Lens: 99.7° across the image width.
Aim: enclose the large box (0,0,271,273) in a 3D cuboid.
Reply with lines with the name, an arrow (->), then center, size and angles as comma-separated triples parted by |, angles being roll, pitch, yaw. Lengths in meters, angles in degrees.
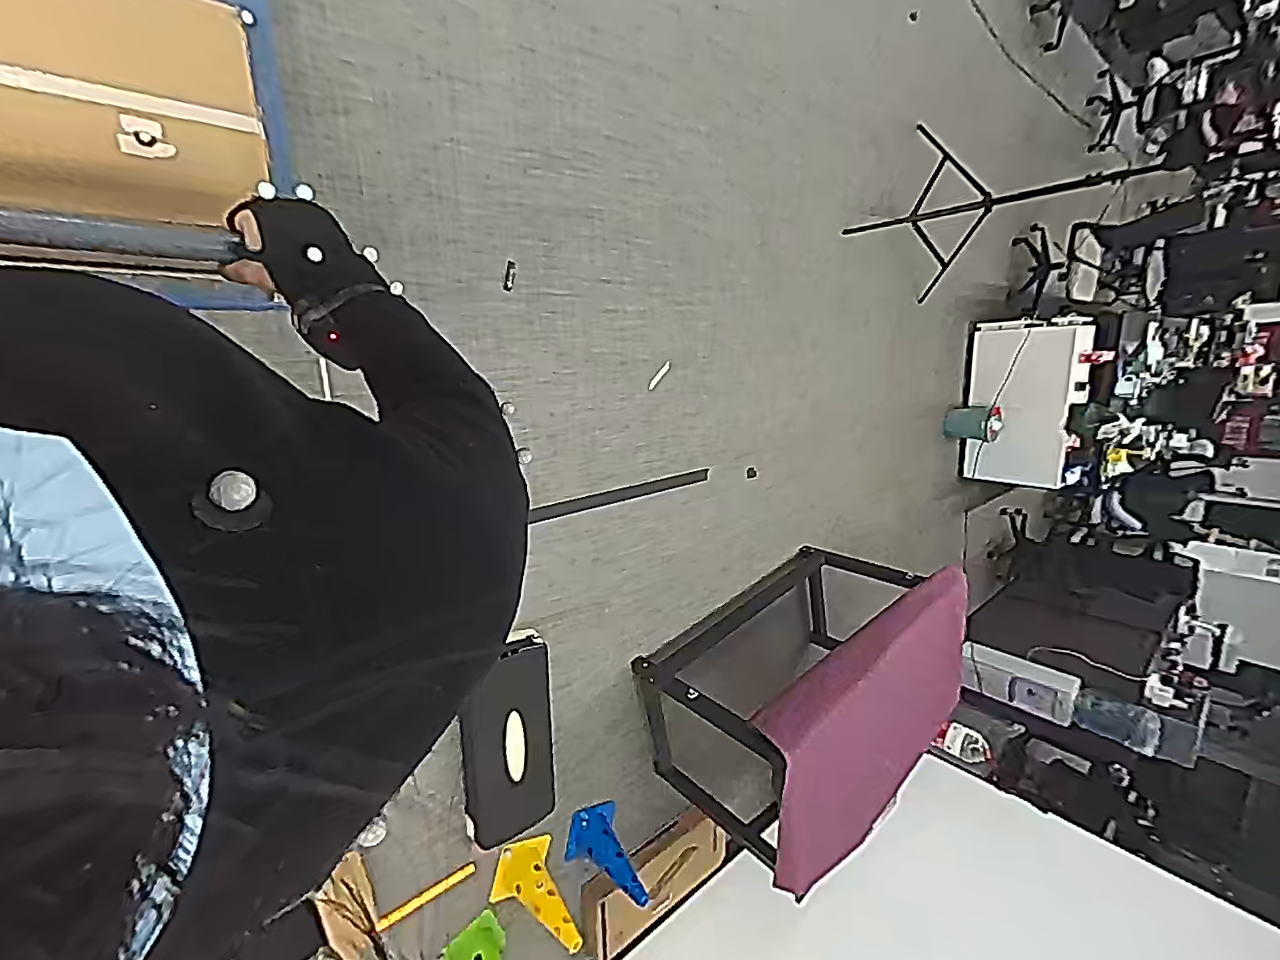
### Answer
large box -> -0.820, -0.500, 0.788 | 0.408, 0.320, 0.320 | -11, 106, -39
